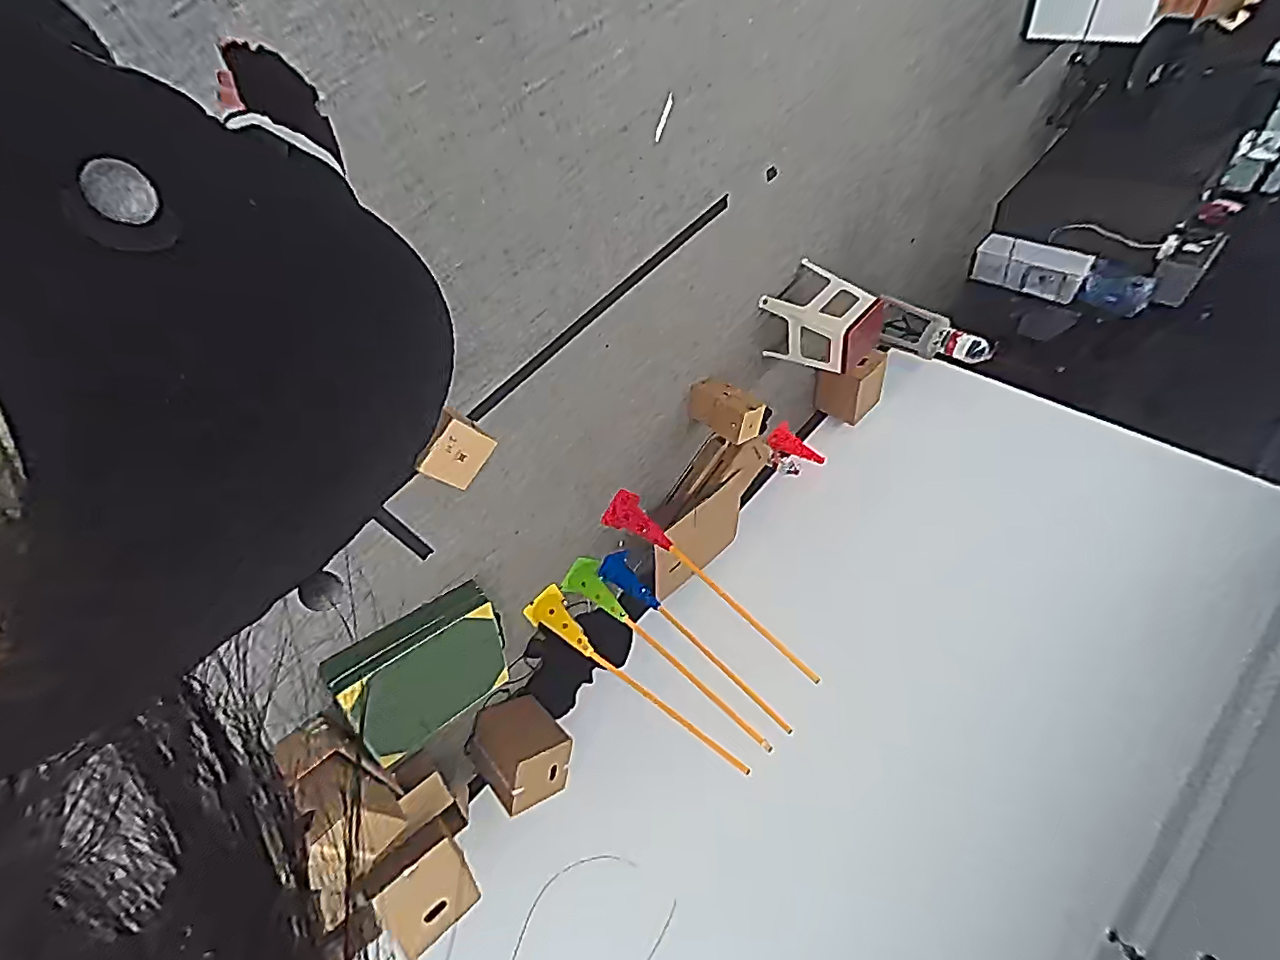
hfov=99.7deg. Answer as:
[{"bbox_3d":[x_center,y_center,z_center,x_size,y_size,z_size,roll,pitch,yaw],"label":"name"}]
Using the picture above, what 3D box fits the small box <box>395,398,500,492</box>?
[{"bbox_3d":[-0.530,-0.099,1.488,0.168,0.176,0.179,-53,145,-4],"label":"small box"}]
